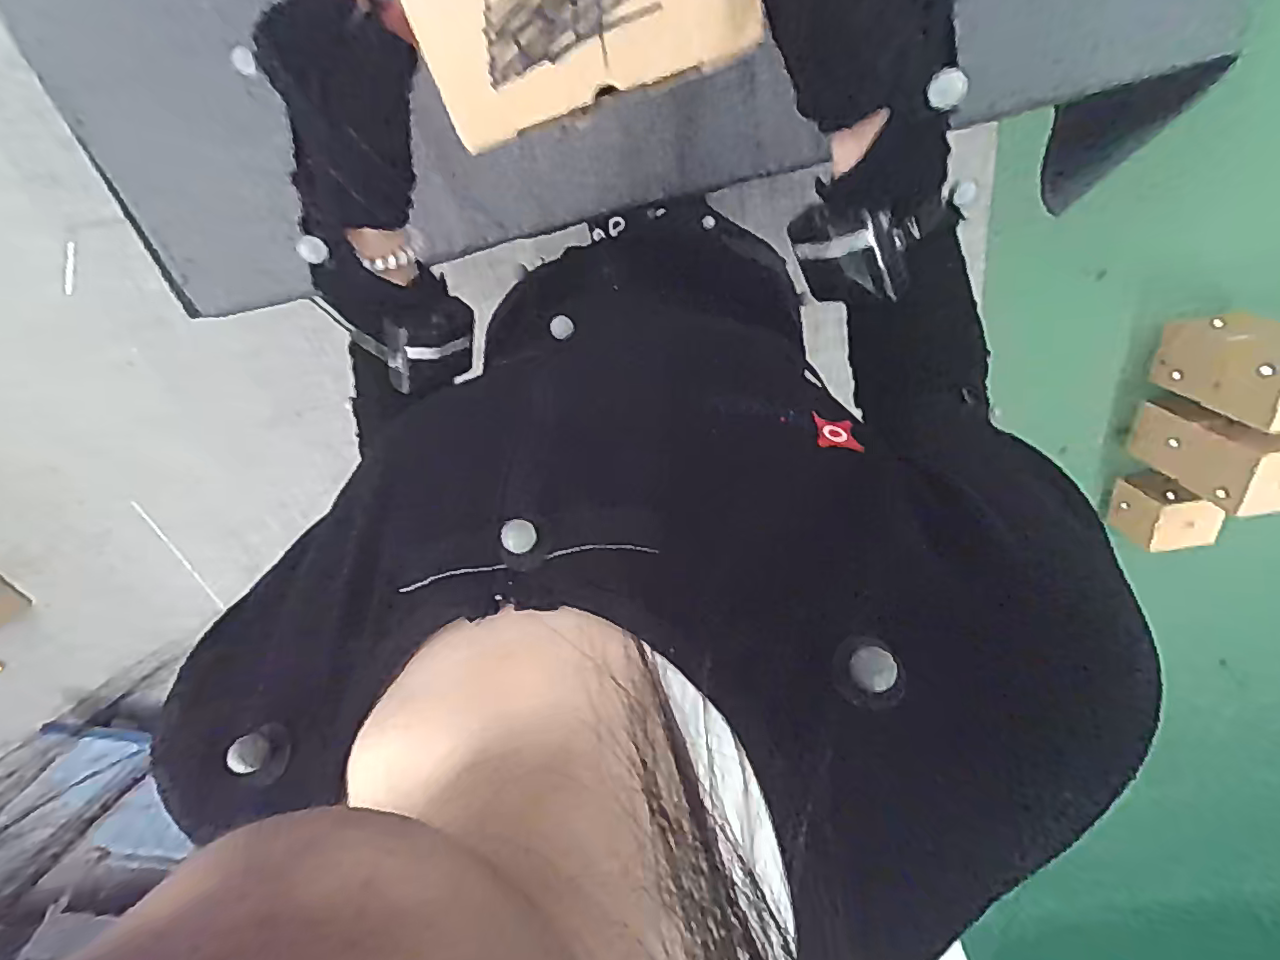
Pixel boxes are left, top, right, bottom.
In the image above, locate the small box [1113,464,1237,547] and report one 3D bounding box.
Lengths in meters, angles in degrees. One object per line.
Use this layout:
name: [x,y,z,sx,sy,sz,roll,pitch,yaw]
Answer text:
small box: [1.552,0.071,1.581,0.179,0.176,0.168,-11,120,7]
